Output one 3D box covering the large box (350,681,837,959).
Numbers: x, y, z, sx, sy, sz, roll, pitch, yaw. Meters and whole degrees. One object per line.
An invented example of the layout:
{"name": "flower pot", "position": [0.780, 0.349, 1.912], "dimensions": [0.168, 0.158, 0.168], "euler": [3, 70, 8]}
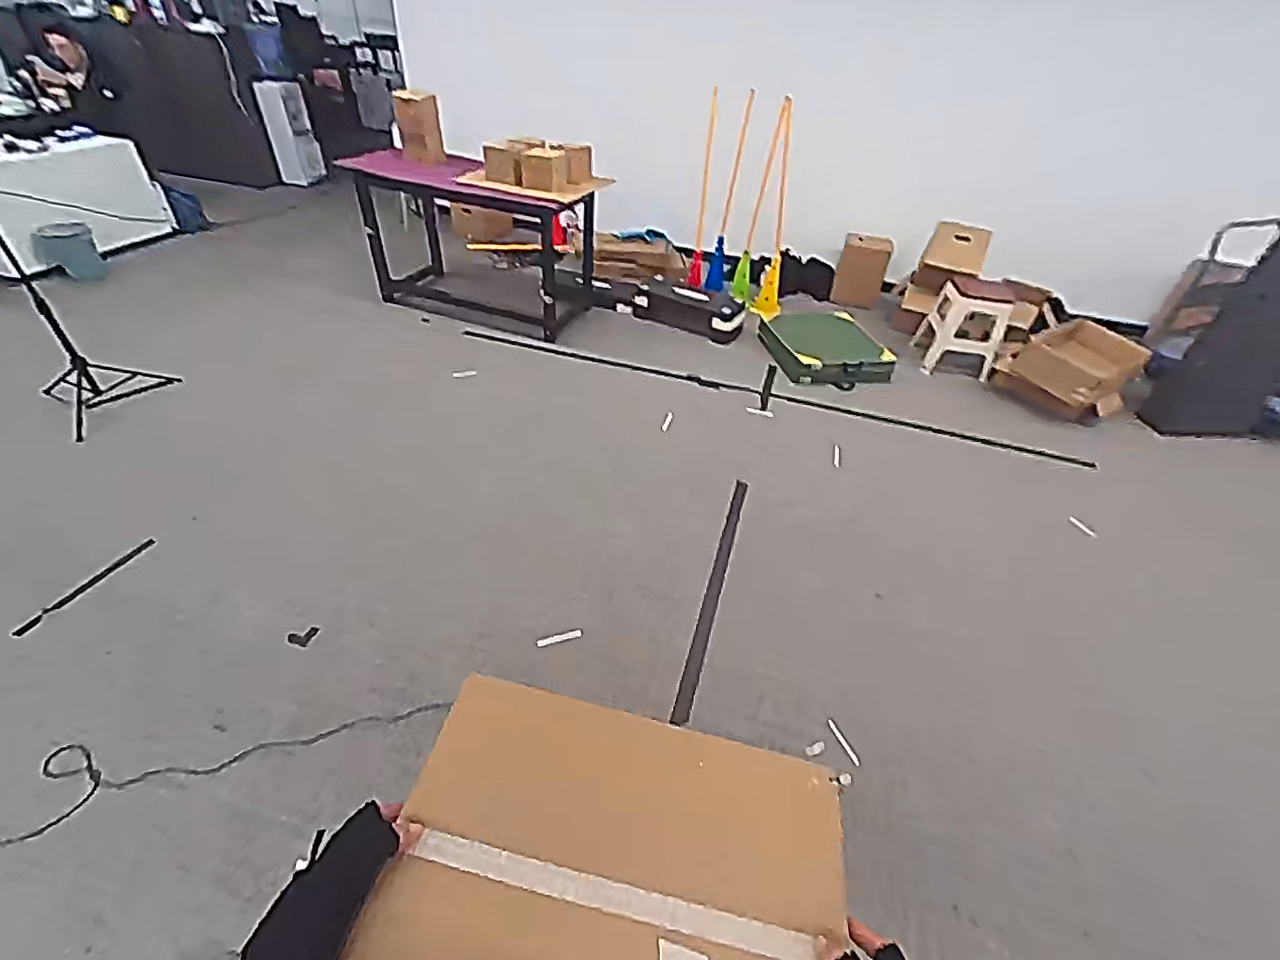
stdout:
{"name": "large box", "position": [-0.041, 0.470, 0.583], "dimensions": [0.408, 0.320, 0.320], "euler": [13, 44, 3]}
